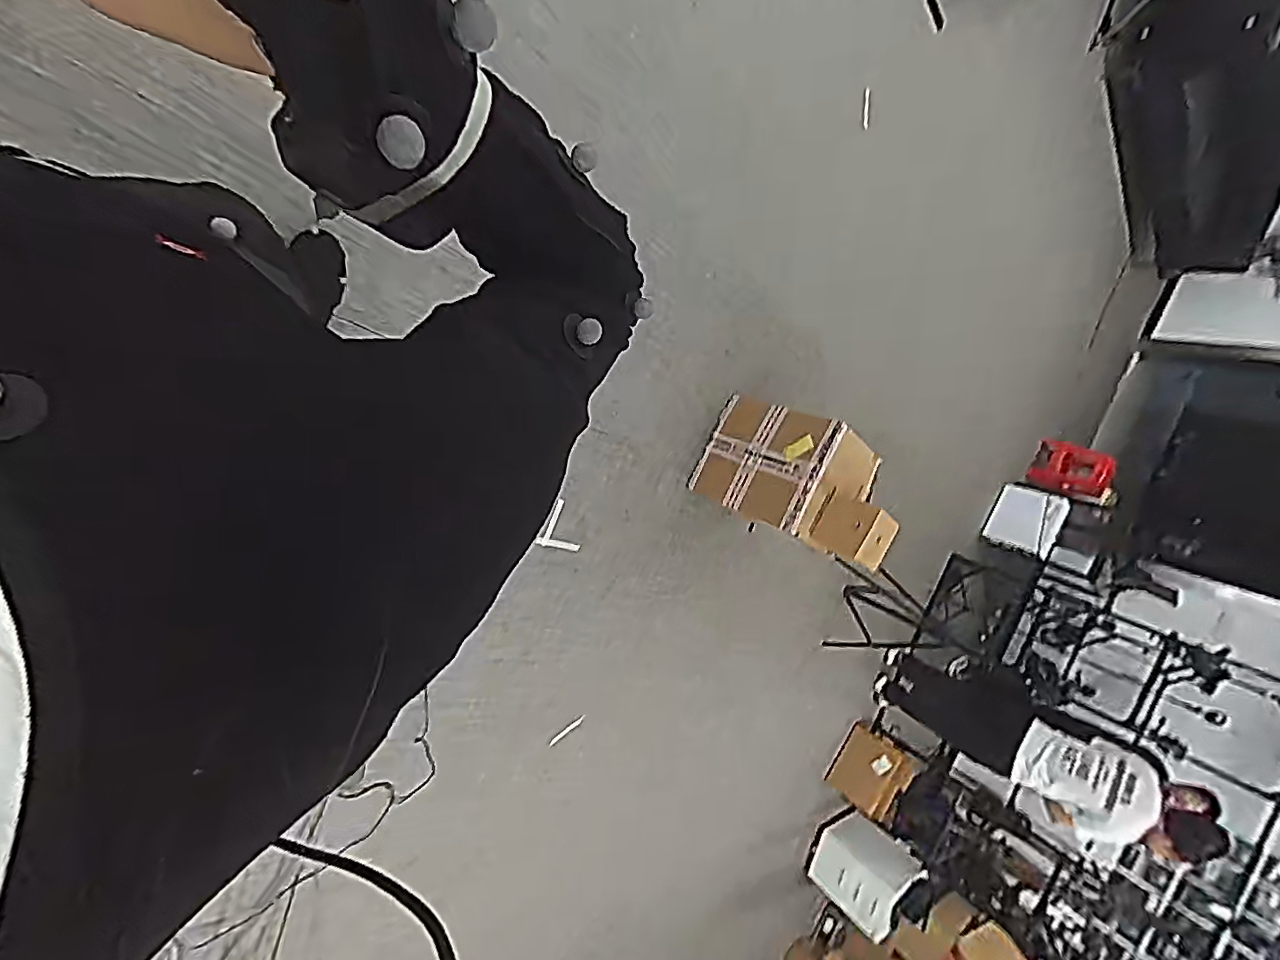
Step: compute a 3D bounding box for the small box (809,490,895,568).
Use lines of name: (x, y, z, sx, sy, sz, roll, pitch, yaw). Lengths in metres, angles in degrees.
small box: (0.682, 0.154, 1.748, 0.168, 0.176, 0.179, 31, 88, -40)
